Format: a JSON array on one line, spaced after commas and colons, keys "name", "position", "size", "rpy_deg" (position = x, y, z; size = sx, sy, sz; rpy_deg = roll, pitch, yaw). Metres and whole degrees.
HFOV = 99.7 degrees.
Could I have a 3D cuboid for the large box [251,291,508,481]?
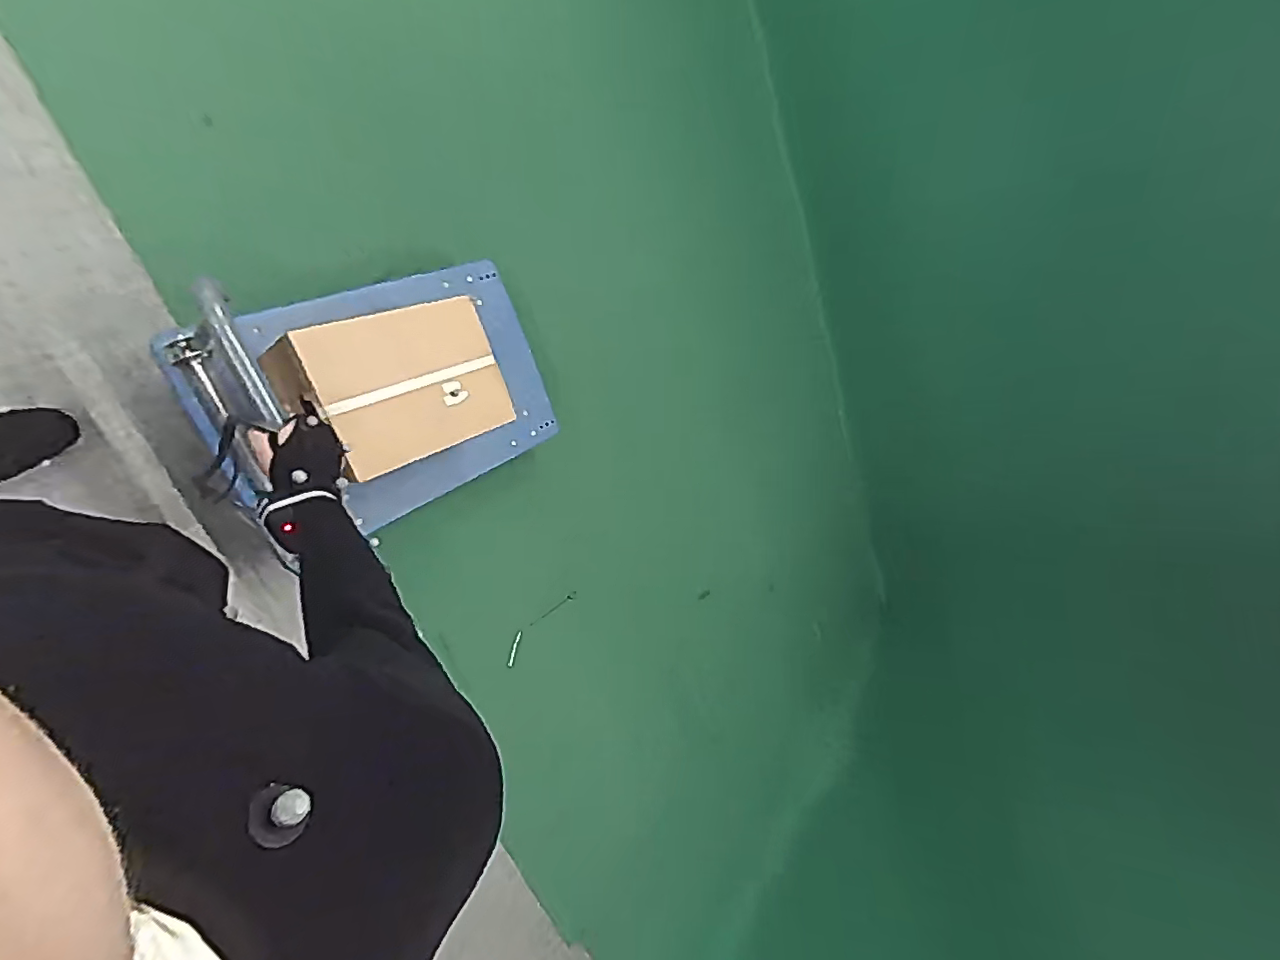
[{"name": "large box", "position": [-0.604, -0.218, 1.281], "size": [0.408, 0.320, 0.320], "rpy_deg": [-32, 112, -41]}]
